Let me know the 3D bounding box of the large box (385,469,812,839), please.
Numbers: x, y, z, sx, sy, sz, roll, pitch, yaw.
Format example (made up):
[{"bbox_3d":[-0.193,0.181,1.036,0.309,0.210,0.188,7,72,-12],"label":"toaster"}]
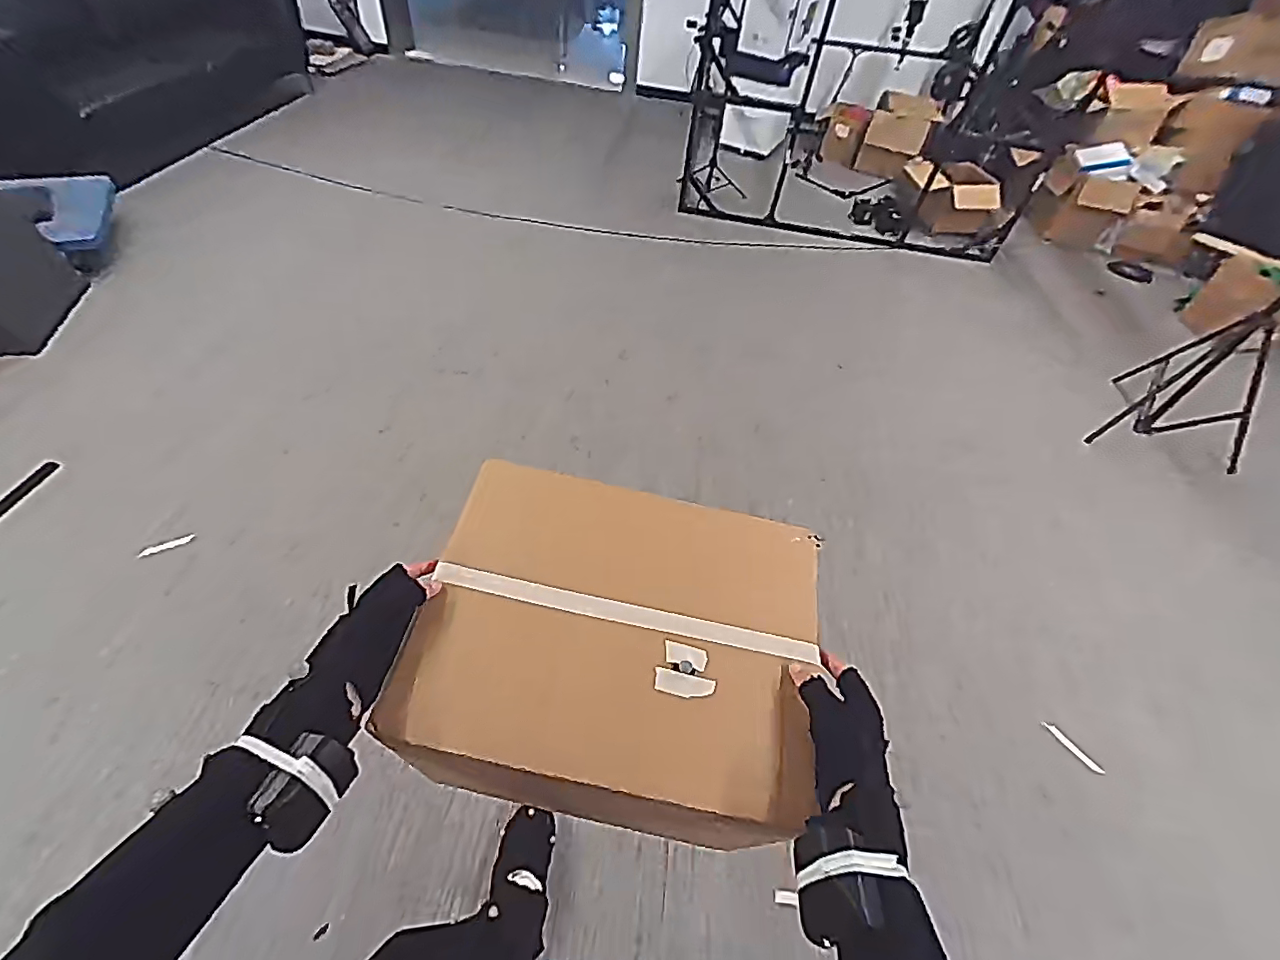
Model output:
[{"bbox_3d":[-0.035,0.232,0.692,0.408,0.320,0.320,13,54,0],"label":"large box"}]
